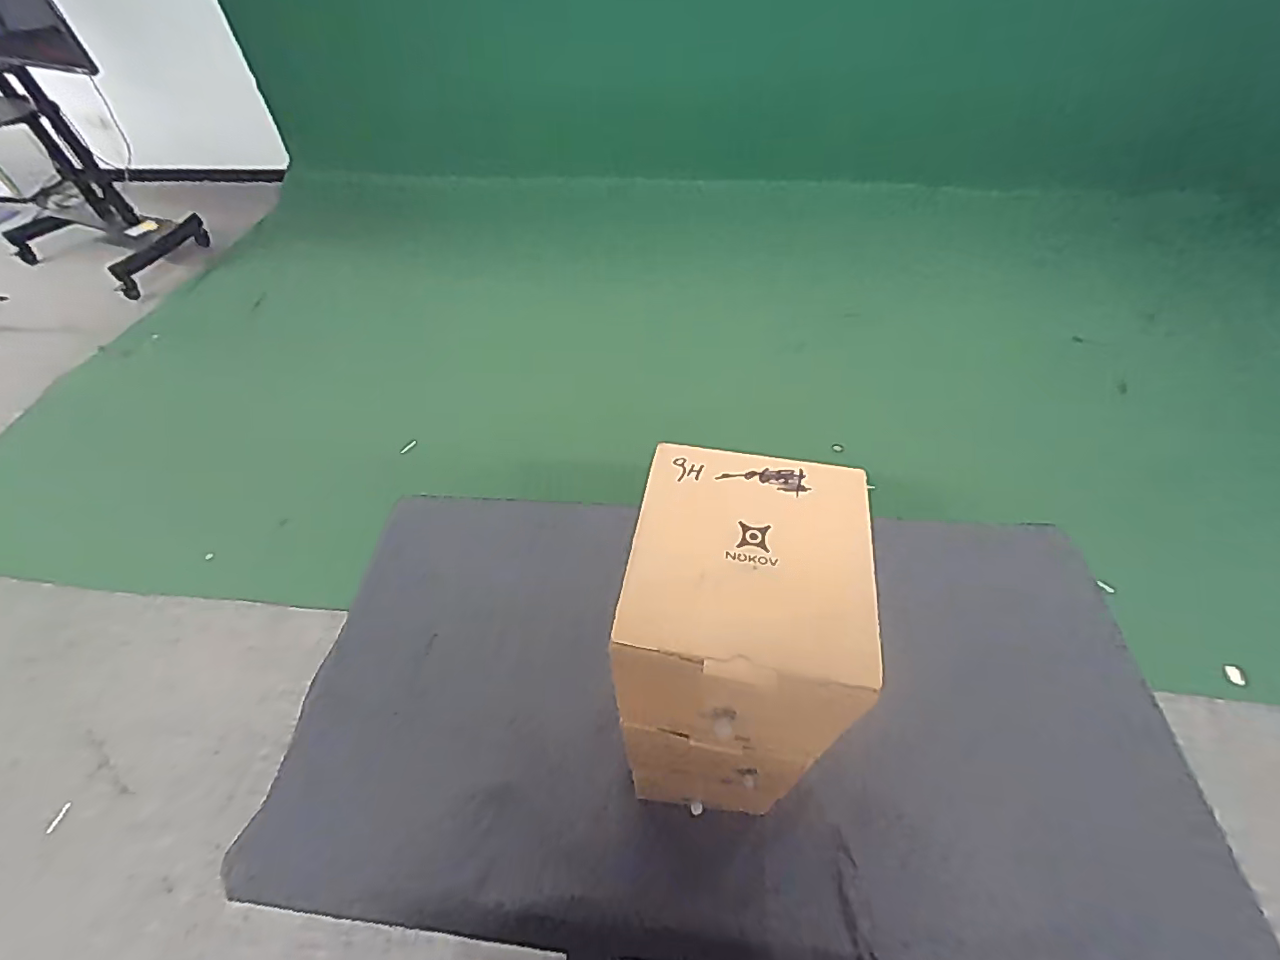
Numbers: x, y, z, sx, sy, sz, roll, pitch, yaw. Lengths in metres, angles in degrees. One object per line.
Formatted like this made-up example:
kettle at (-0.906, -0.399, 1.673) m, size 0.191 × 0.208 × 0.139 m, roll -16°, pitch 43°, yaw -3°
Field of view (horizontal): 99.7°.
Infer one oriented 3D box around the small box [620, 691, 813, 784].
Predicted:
small box at (0.080, 0.197, 0.565) m, size 0.168 × 0.176 × 0.179 m, roll 7°, pitch 51°, yaw 7°

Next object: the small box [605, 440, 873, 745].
small box at (0.077, 0.095, 0.437) m, size 0.168 × 0.176 × 0.179 m, roll 9°, pitch 53°, yaw 8°

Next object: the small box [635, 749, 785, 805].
small box at (0.087, 0.296, 0.693) m, size 0.168 × 0.176 × 0.179 m, roll 4°, pitch 52°, yaw 6°
